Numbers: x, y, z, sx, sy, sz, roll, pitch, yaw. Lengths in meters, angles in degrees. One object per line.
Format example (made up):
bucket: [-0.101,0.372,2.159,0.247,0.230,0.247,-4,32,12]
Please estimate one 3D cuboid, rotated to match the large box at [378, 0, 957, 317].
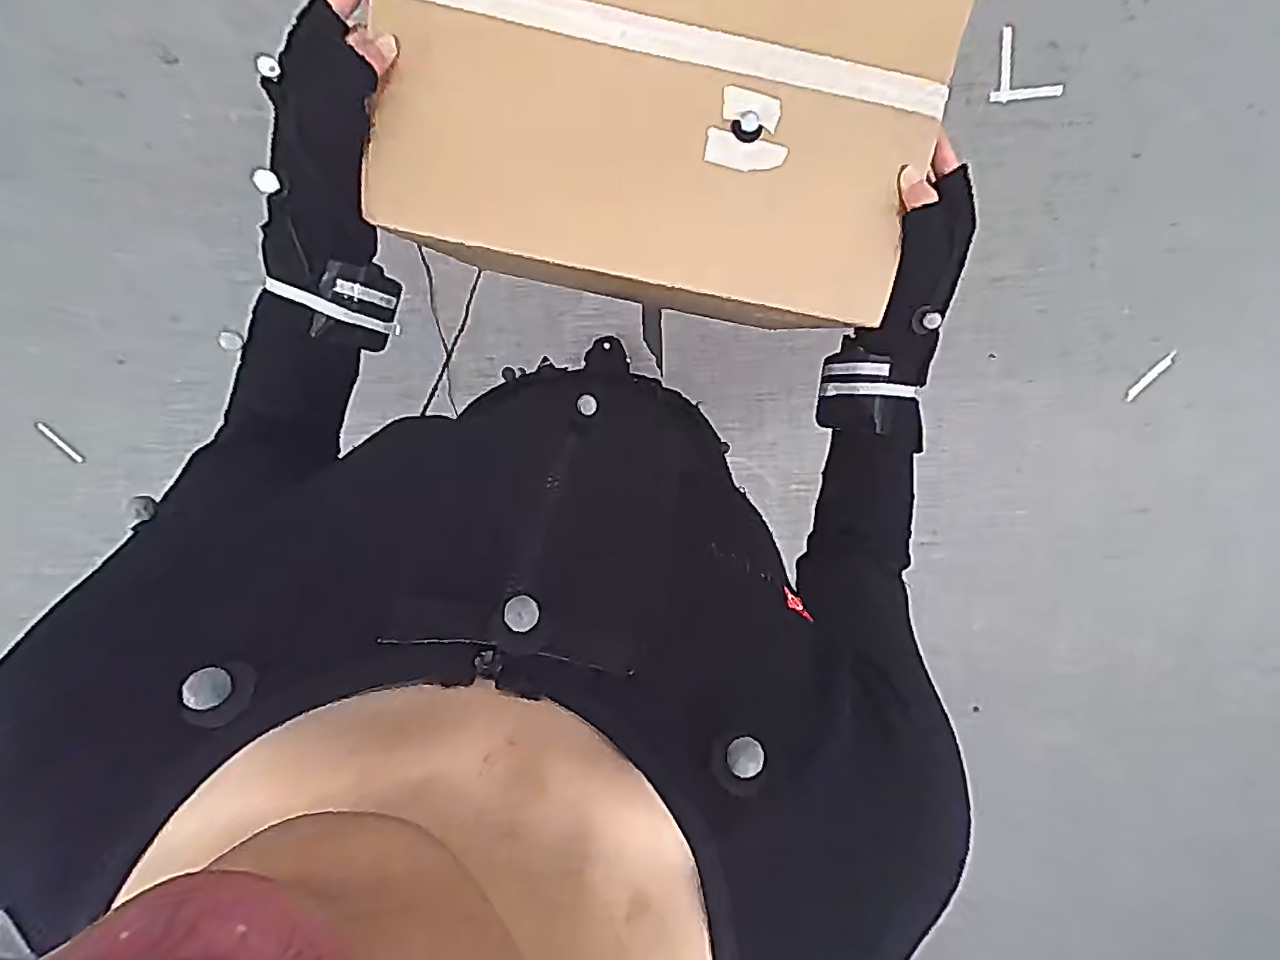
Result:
large box: [0.015,-0.355,0.529,0.408,0.320,0.320,10,105,-4]
